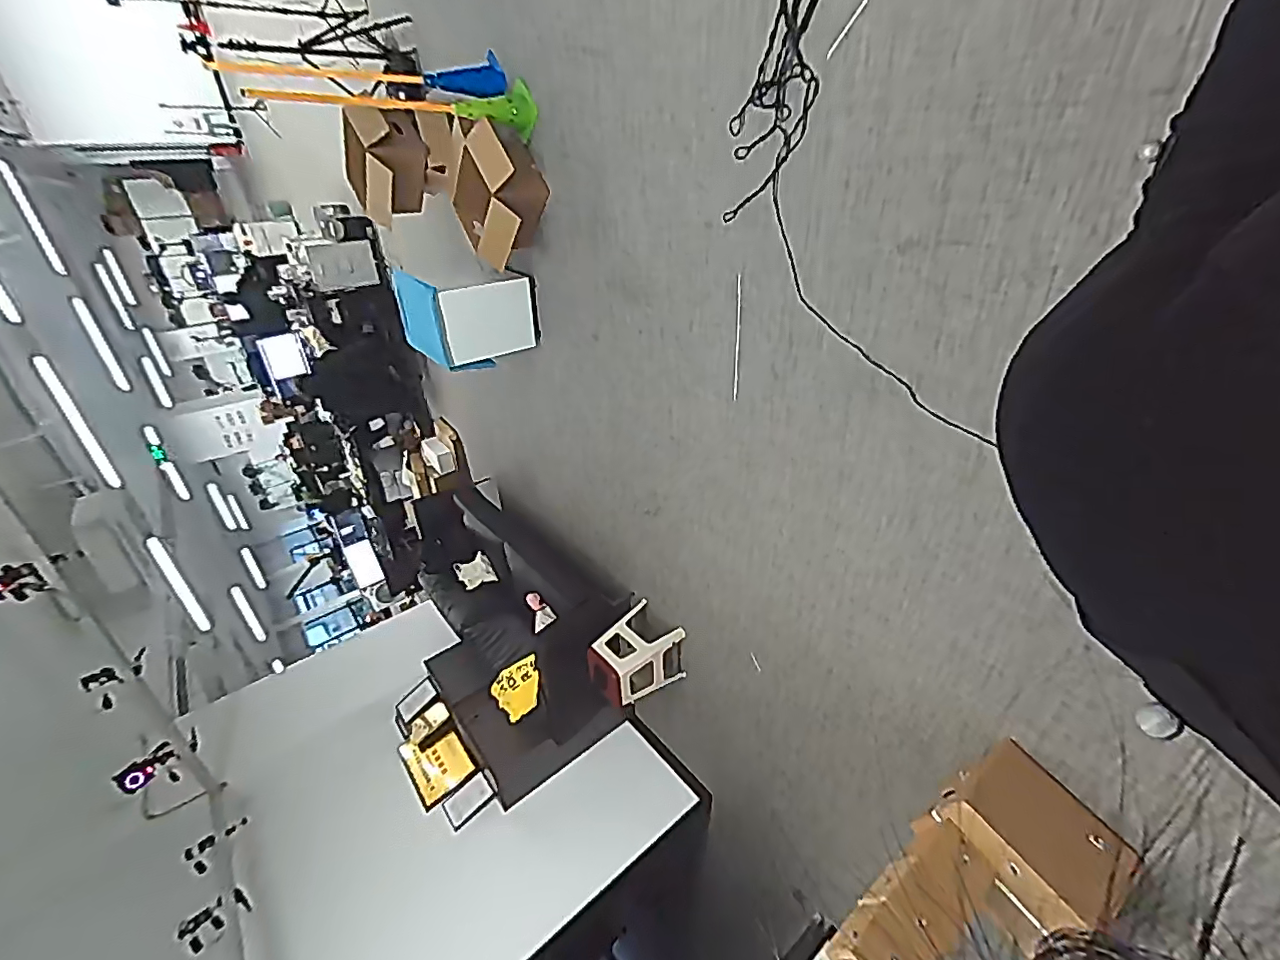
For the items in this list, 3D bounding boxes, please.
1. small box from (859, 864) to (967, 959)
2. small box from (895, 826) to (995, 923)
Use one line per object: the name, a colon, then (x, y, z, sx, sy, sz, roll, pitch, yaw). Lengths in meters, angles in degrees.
small box: (0.758, 1.208, 1.504, 0.179, 0.176, 0.168, 47, 145, 28)
small box: (0.890, 1.157, 1.583, 0.168, 0.176, 0.179, 46, 144, 29)
